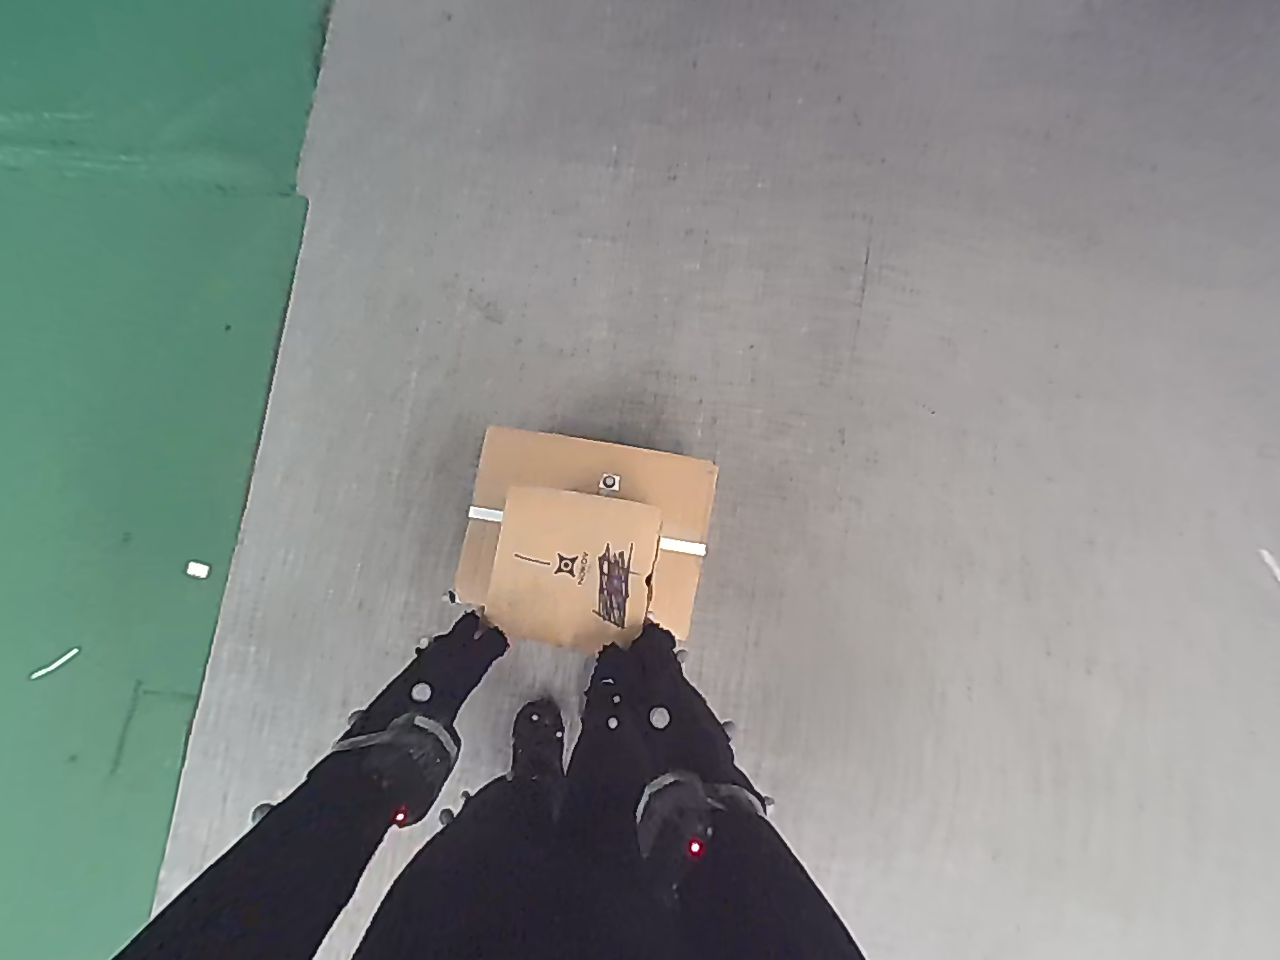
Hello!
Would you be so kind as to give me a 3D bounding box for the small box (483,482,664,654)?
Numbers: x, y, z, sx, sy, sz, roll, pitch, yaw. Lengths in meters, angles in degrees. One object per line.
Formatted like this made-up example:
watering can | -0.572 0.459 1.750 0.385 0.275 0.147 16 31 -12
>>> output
small box | -0.069 0.104 0.664 0.179 0.176 0.168 8 82 3
